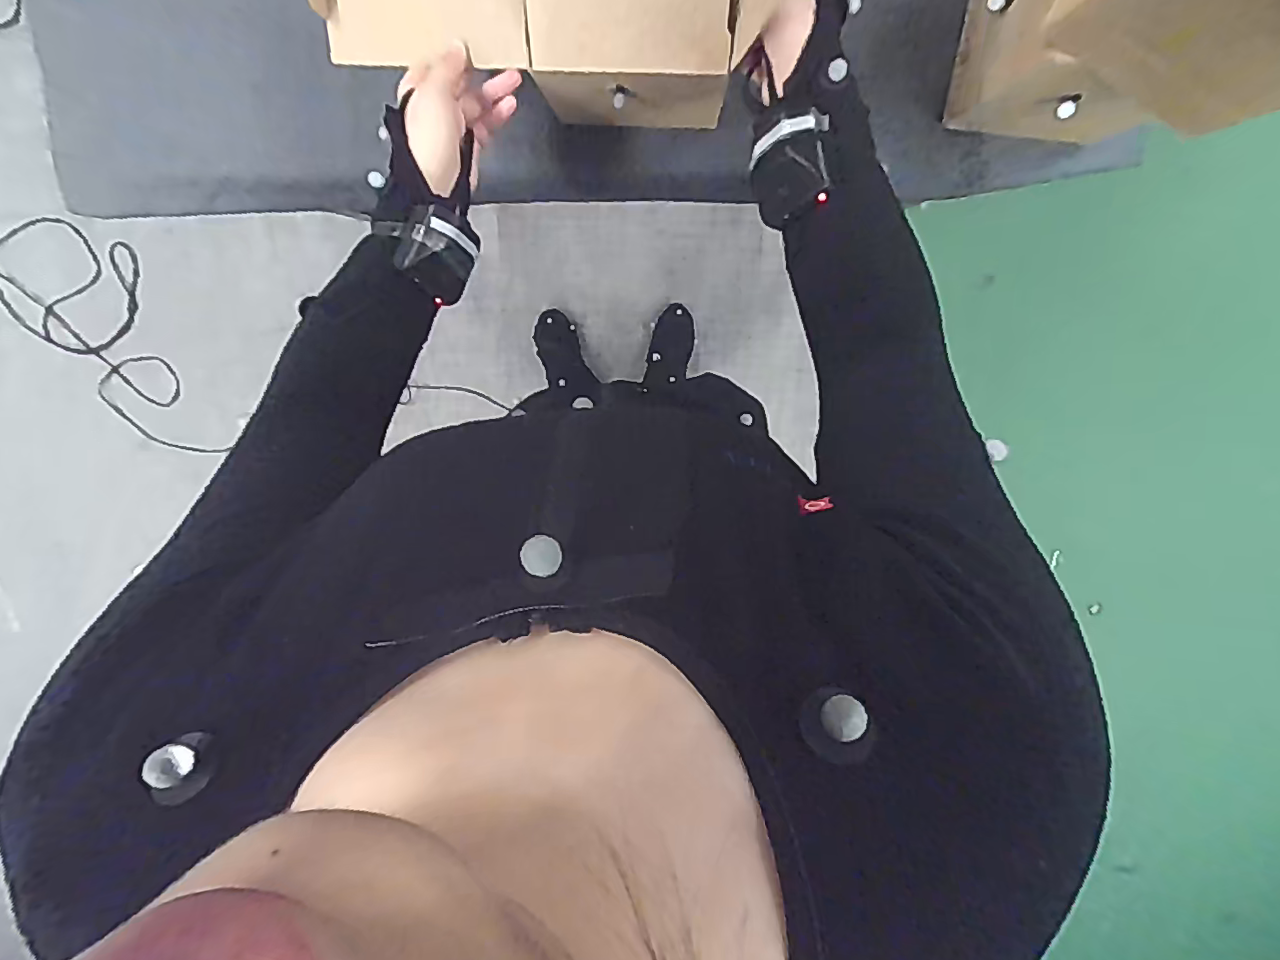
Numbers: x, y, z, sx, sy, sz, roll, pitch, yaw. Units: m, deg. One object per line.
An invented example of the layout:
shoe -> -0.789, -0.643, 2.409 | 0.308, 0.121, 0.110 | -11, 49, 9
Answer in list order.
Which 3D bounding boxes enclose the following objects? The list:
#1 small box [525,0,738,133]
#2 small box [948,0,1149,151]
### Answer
small box -> -0.001, -0.438, 0.502 | 0.179, 0.176, 0.168 | 3, 111, 2
small box -> 0.433, -0.434, 0.512 | 0.179, 0.176, 0.168 | 5, 106, -2
